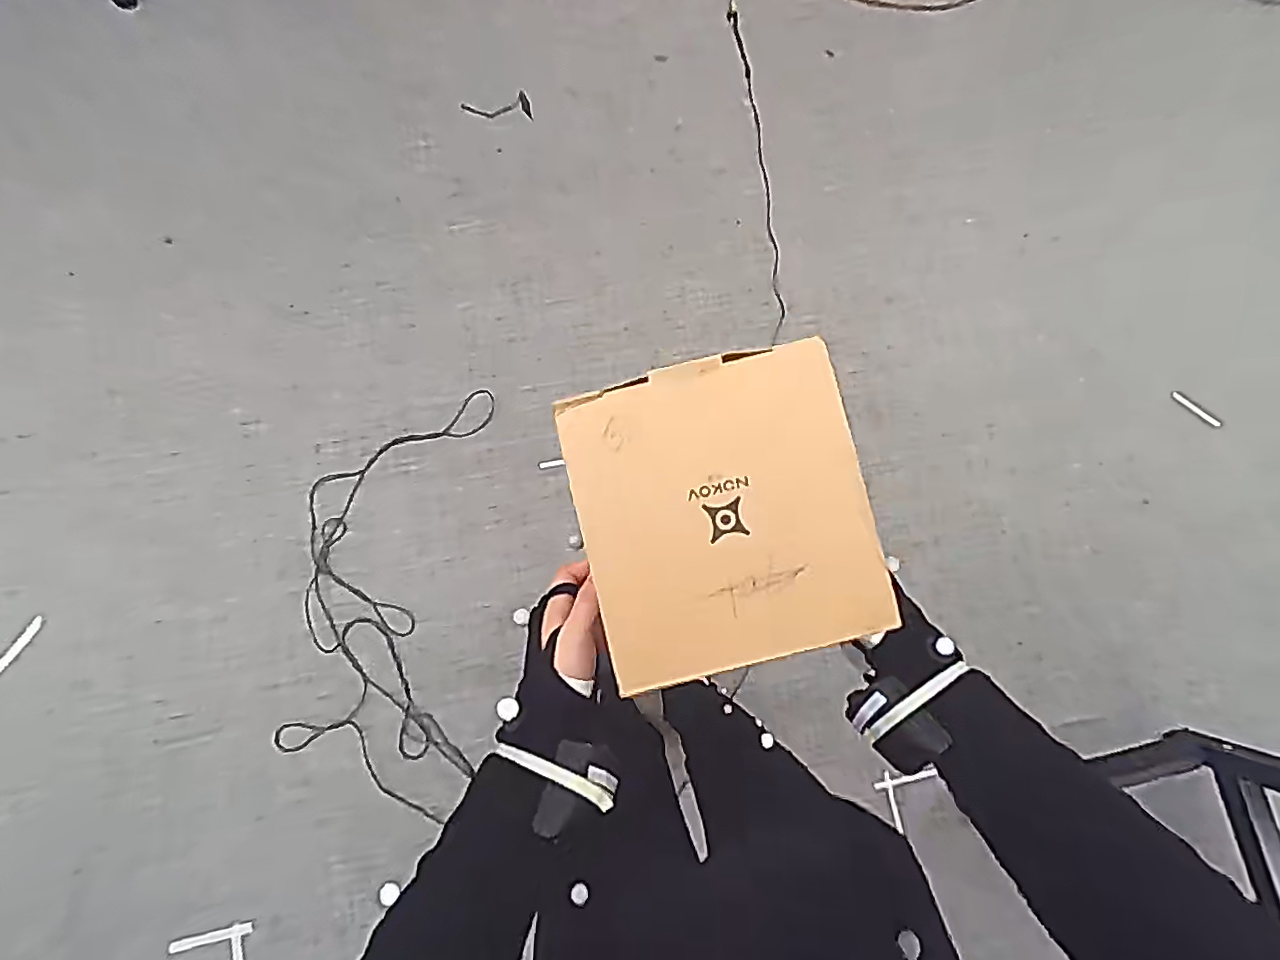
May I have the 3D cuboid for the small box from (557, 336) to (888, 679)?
[{"bbox_3d":[0.048,0.019,0.401,0.168,0.176,0.179,-15,88,1],"label":"small box"}]
